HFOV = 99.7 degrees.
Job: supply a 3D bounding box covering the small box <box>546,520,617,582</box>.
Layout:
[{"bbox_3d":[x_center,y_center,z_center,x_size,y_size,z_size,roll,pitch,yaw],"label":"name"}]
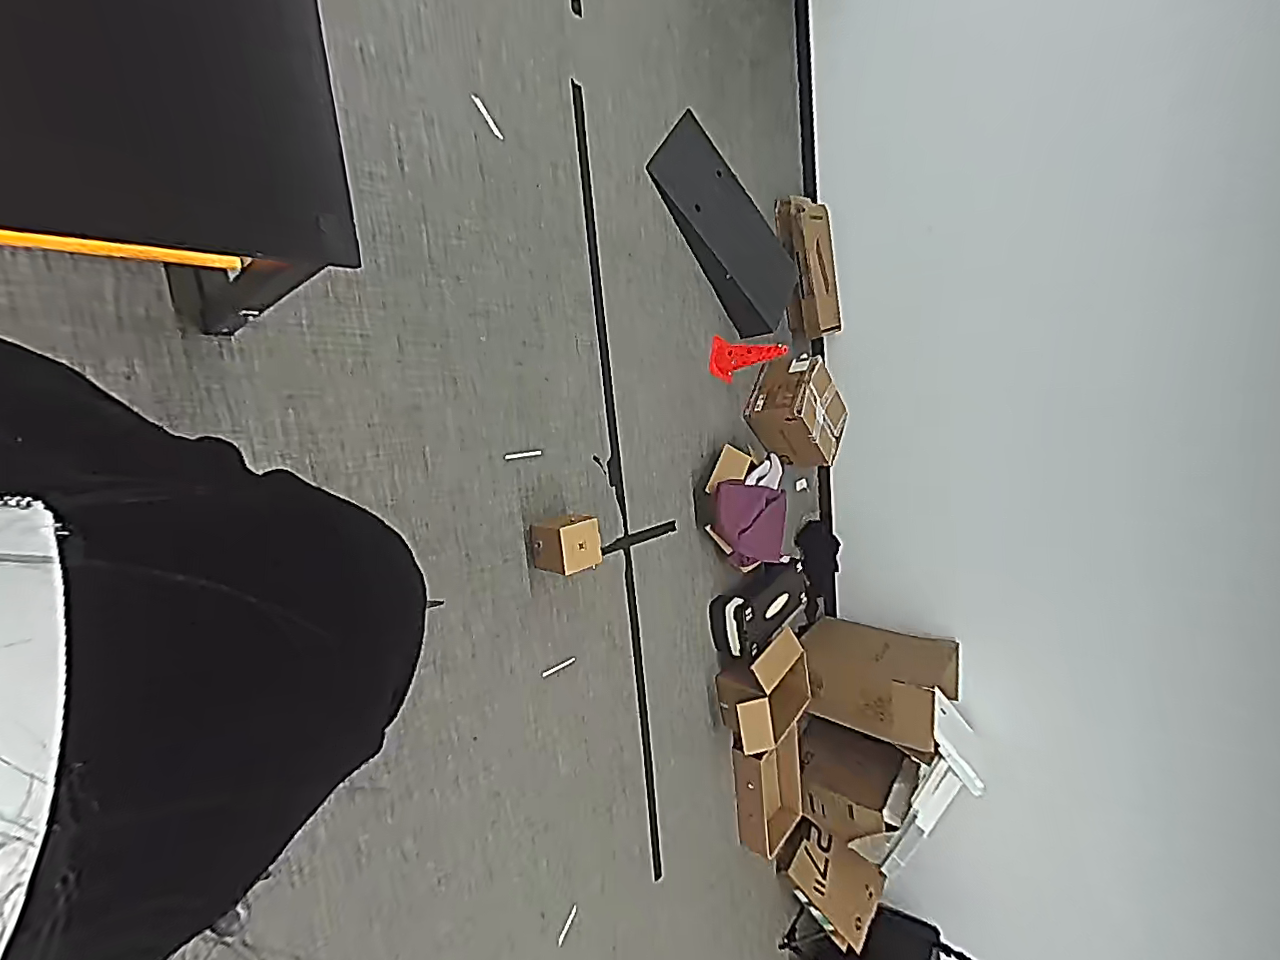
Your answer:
[{"bbox_3d":[-0.204,0.240,1.883,0.179,0.176,0.168,-15,102,-46],"label":"small box"}]
